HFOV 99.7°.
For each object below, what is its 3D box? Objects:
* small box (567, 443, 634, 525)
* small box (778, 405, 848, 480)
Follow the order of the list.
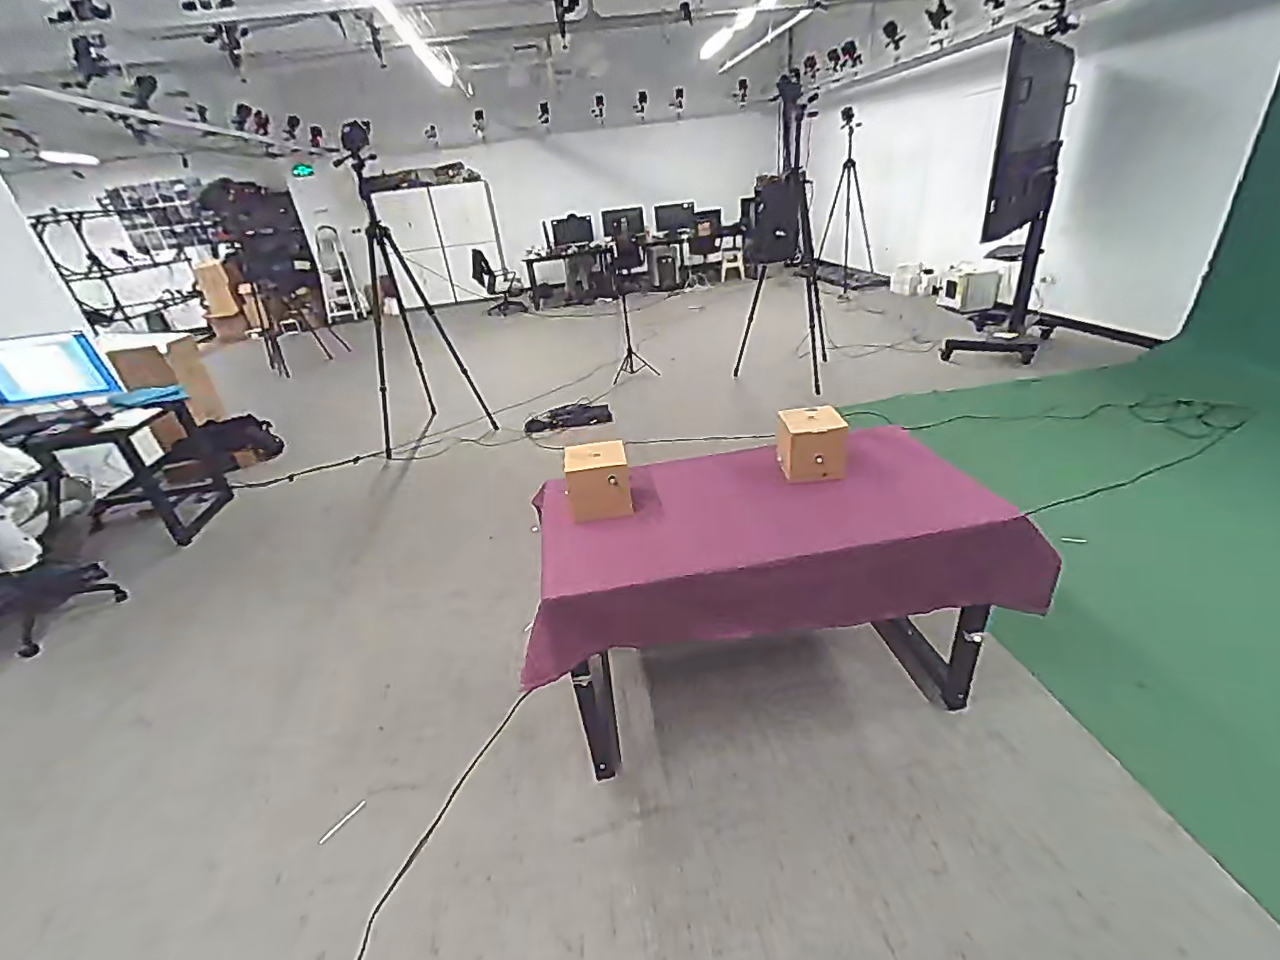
[{"bbox_3d":[-0.113,0.012,1.579,0.179,0.176,0.168,-9,28,-2],"label":"small box"},{"bbox_3d":[0.518,-0.109,1.633,0.168,0.176,0.179,-6,29,3],"label":"small box"}]
